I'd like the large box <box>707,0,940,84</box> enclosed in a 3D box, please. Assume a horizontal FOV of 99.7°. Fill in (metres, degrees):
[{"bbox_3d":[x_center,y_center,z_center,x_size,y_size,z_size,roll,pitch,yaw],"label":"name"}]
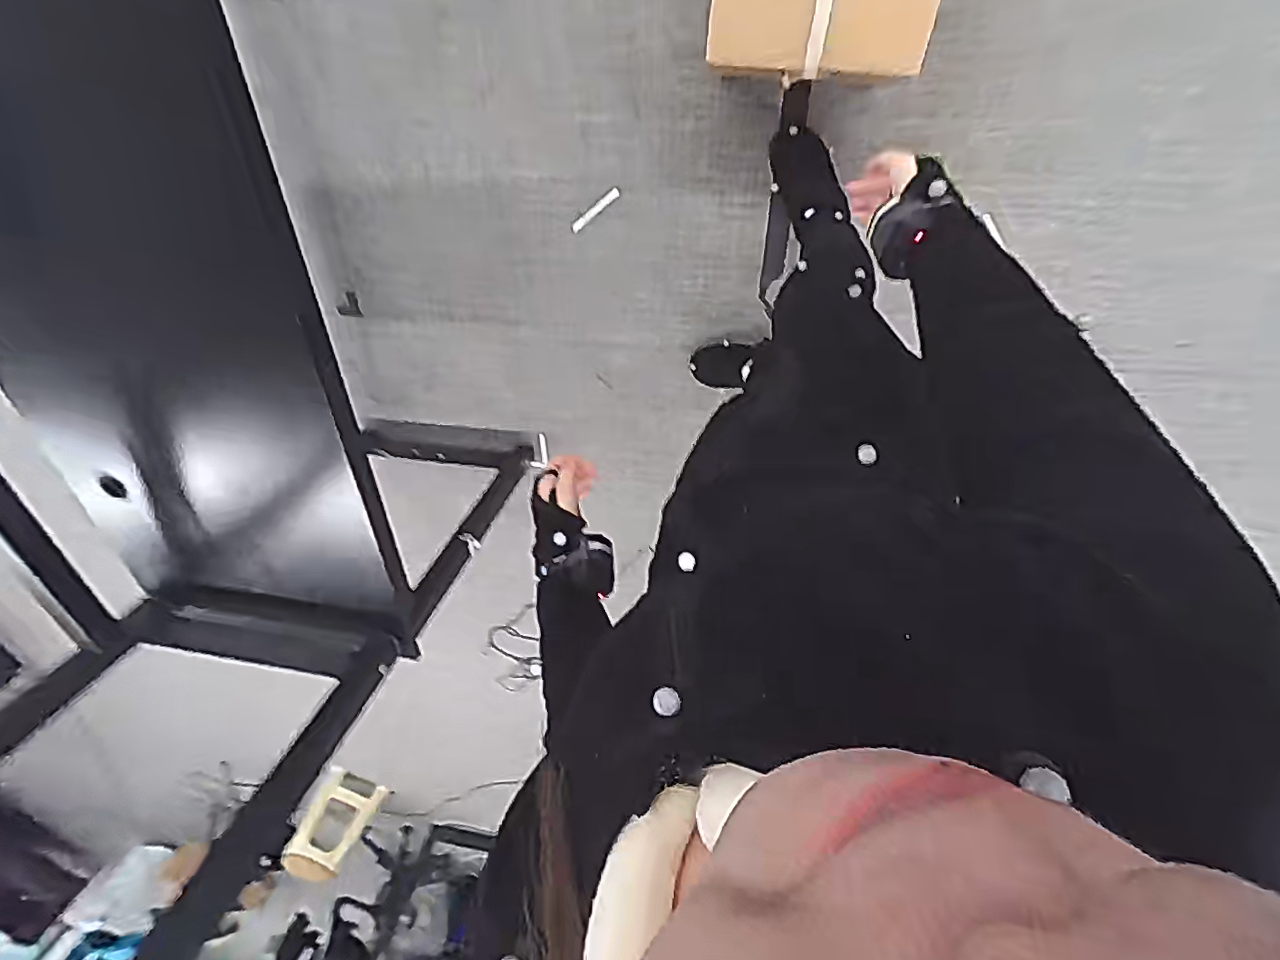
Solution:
[{"bbox_3d":[0.286,-0.847,0.803,0.320,0.320,0.408,8,124,6],"label":"large box"}]
